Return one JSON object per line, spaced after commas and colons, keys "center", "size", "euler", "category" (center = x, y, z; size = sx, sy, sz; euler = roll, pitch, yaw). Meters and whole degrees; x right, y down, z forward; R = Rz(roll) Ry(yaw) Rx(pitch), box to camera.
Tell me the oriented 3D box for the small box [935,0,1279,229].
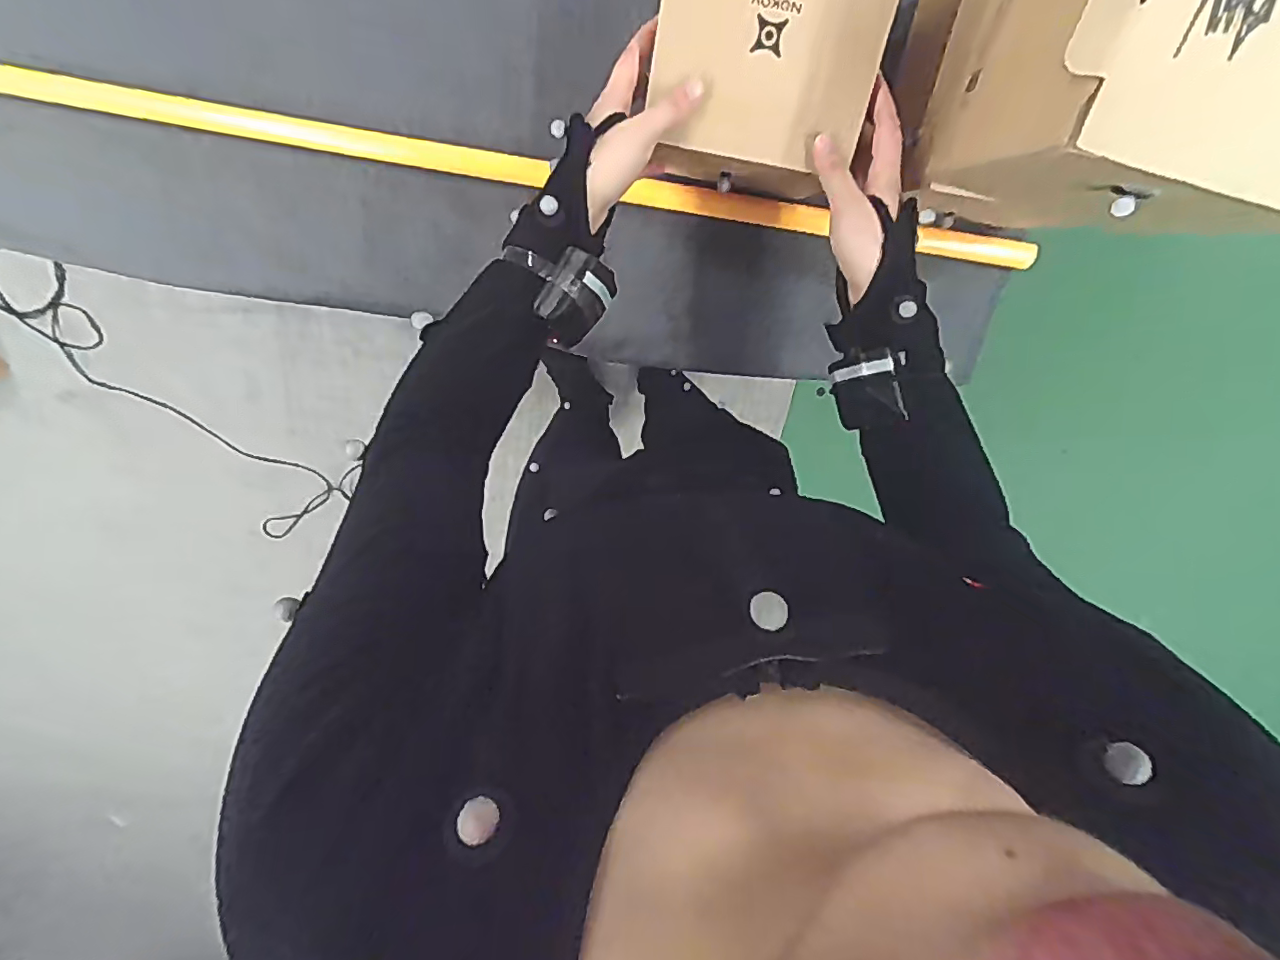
{"center": [0.318, -0.254, 0.320], "size": [0.179, 0.176, 0.168], "euler": [13, 114, -4], "category": "small box"}
